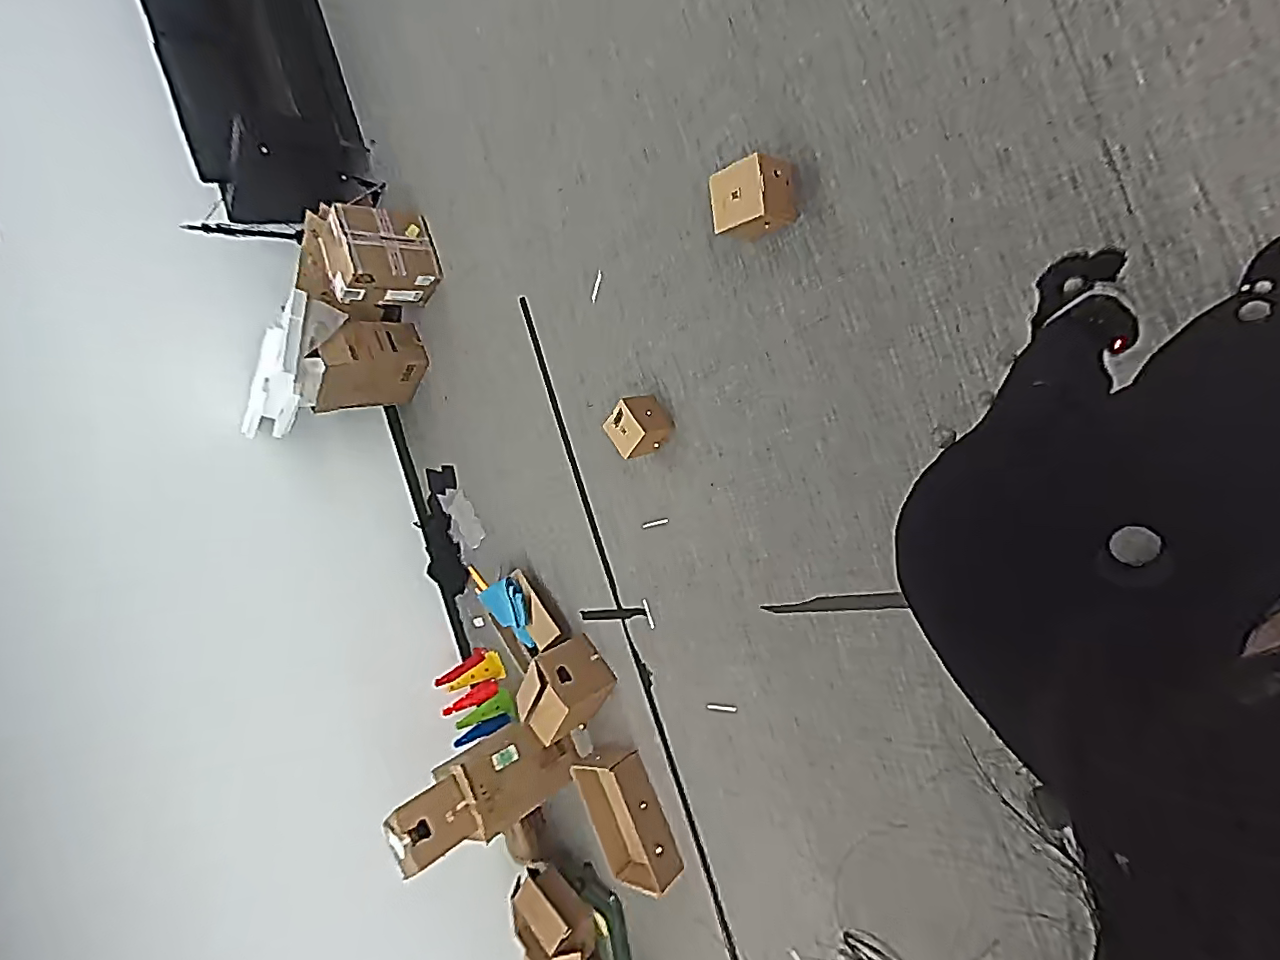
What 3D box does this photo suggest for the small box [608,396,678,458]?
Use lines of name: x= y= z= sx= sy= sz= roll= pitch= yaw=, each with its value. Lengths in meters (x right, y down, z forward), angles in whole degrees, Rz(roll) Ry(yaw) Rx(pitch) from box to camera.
small box: x=0.012 y=-0.212 z=2.095 sx=0.179 sy=0.176 sz=0.168 roll=56 pitch=135 yaw=18

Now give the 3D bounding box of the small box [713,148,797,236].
small box: x=0.338 y=-0.823 z=1.563 sx=0.179 sy=0.176 sz=0.168 roll=-1 pitch=100 yaw=48
